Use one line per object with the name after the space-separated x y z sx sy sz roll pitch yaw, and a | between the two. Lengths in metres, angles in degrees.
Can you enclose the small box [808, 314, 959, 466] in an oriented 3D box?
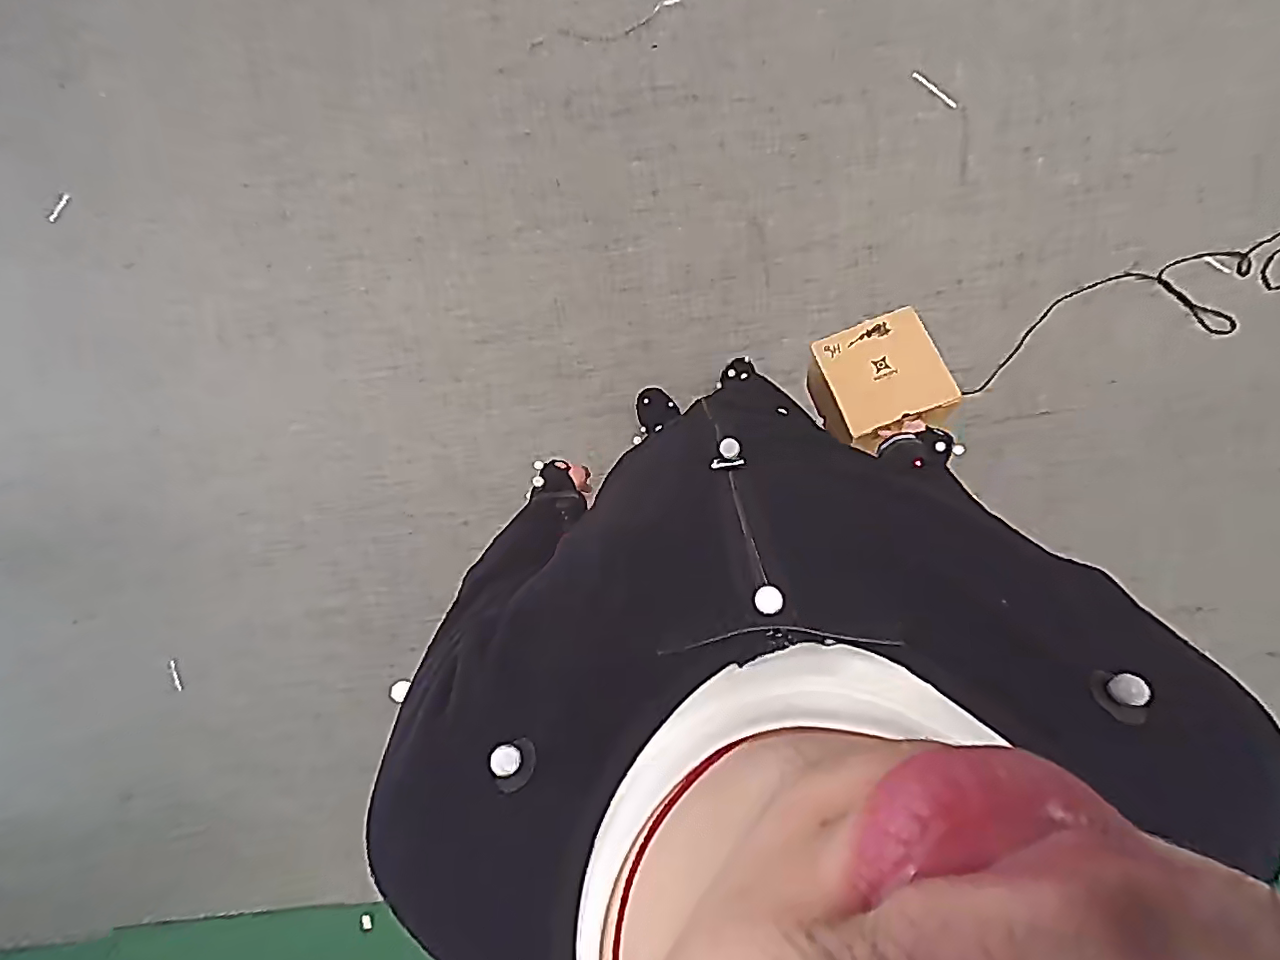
0.397 -0.137 0.910 0.168 0.176 0.179 -24 70 10 | small box
